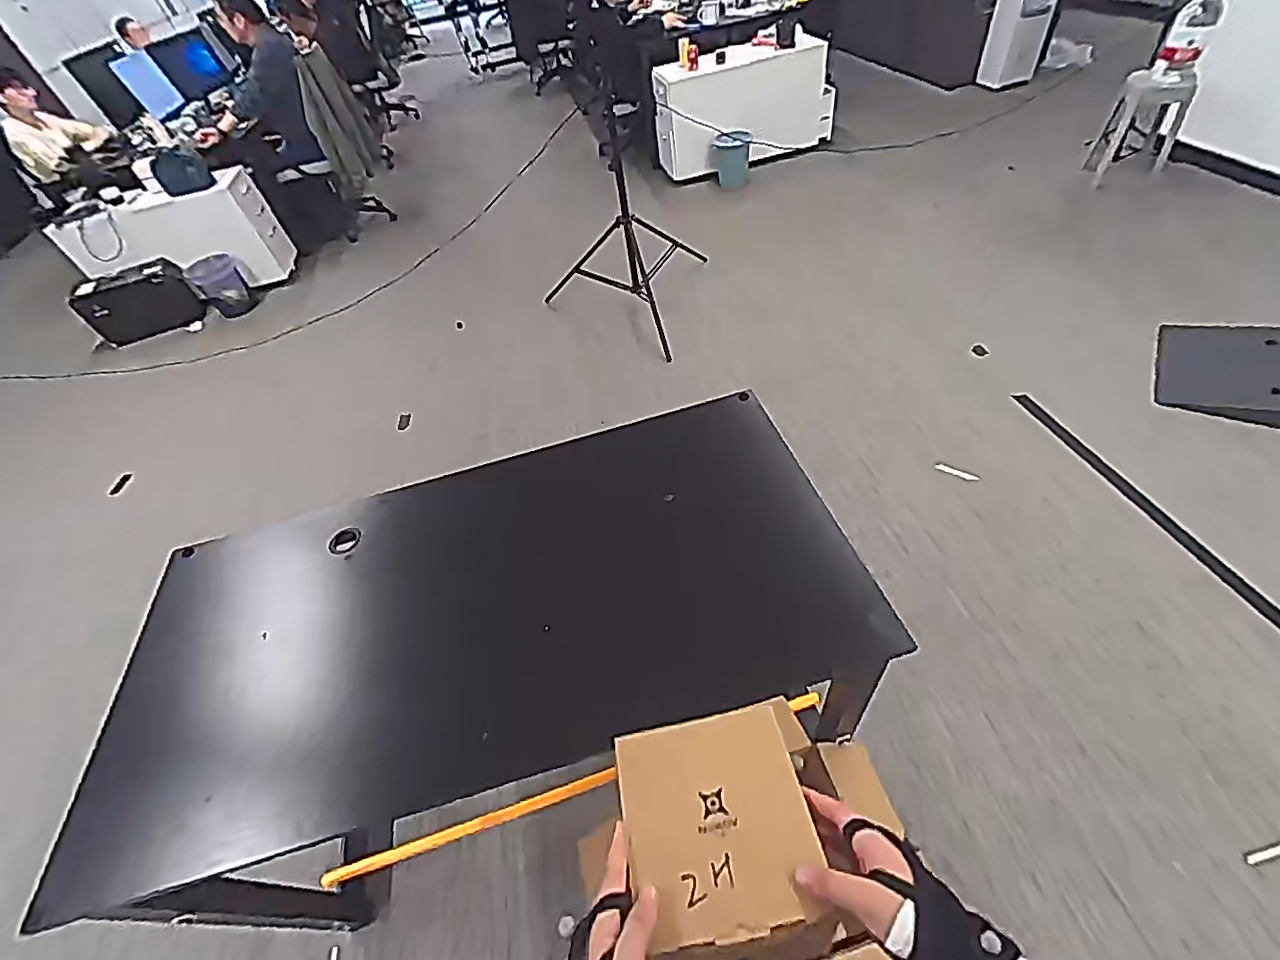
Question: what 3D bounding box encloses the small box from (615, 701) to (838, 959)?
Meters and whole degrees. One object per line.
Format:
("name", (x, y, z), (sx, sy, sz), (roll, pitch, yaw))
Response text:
("small box", (0.075, 0.354, 0.536), (0.168, 0.176, 0.179), (-12, 41, -1))
